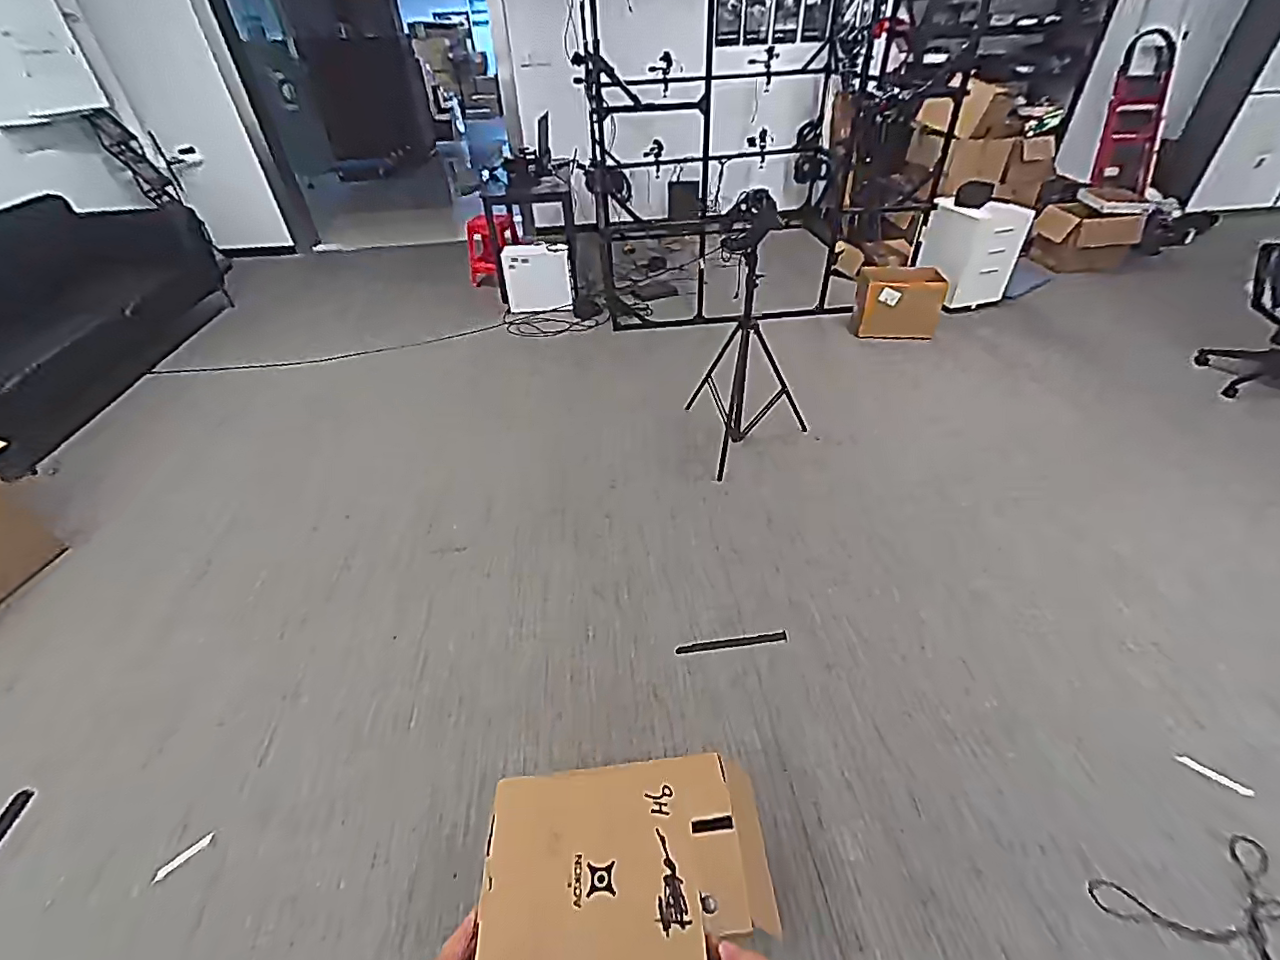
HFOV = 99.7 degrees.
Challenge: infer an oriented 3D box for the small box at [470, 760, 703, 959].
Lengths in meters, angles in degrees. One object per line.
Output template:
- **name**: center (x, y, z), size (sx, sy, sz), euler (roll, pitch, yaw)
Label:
- **small box**: center (-0.040, 0.382, 0.493), size (0.179, 0.176, 0.168), euler (-3, 39, -2)
